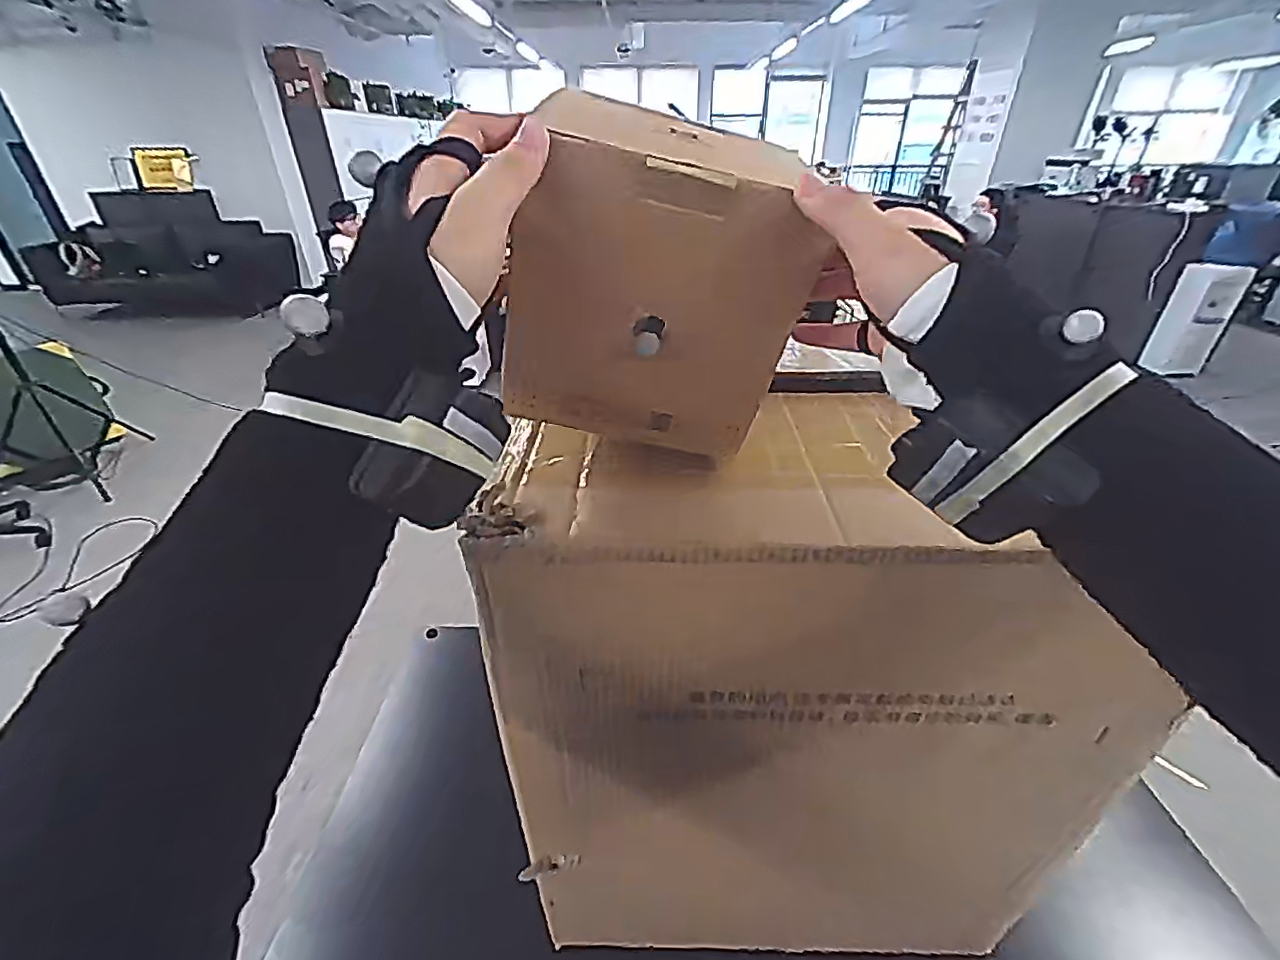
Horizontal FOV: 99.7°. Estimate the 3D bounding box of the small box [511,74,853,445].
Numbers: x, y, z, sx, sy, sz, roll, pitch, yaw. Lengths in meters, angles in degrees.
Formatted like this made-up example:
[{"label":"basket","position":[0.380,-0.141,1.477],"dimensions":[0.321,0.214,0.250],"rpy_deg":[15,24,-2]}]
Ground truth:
[{"label":"small box","position":[0.010,-0.145,0.366],"dimensions":[0.168,0.176,0.179],"rpy_deg":[10,41,-8]}]
